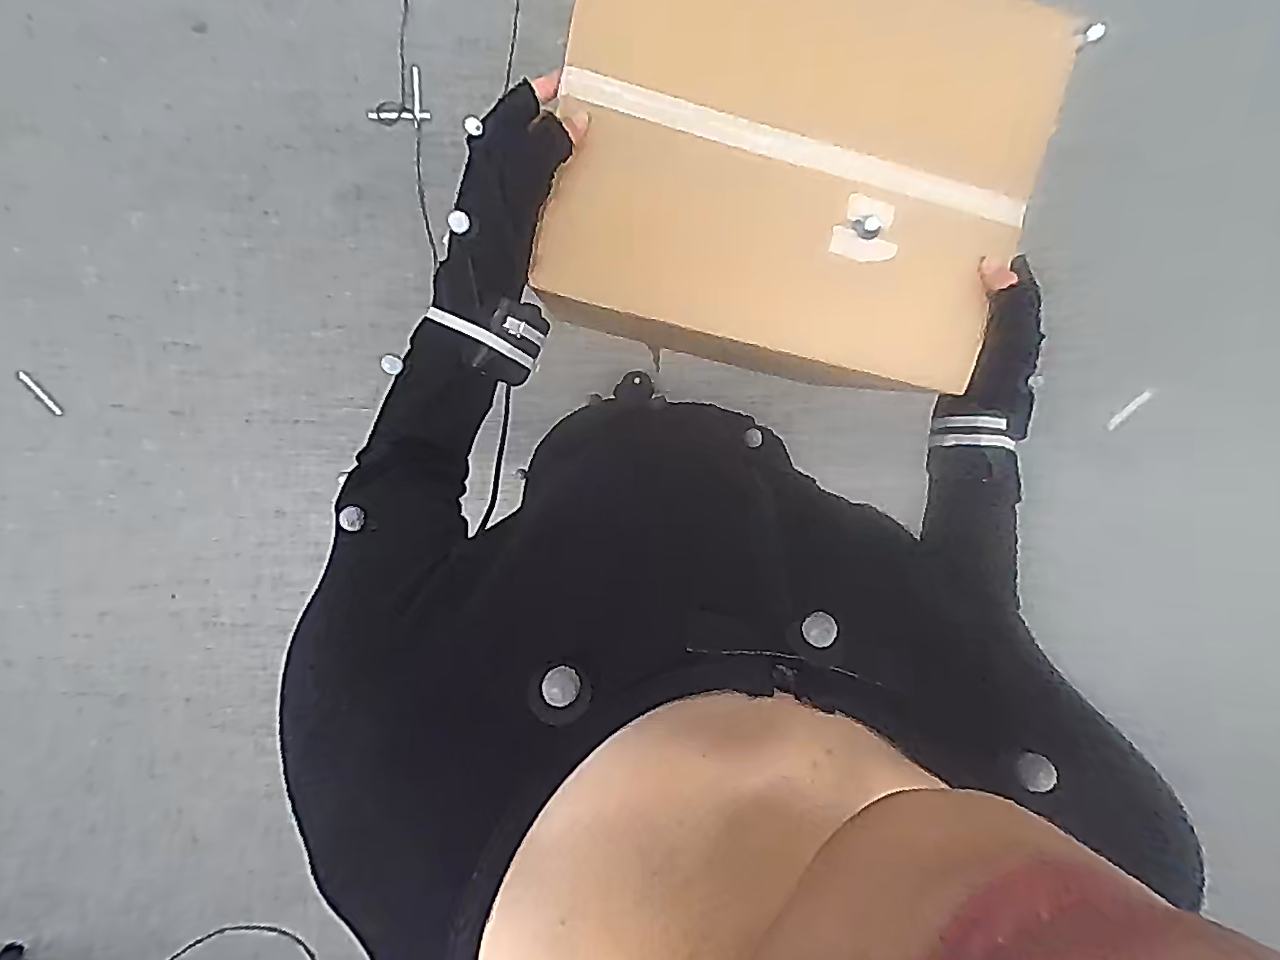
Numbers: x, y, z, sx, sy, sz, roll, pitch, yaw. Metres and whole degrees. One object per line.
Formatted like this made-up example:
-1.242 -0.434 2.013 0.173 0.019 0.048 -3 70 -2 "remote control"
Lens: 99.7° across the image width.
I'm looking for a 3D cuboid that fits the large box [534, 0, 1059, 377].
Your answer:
0.117 -0.307 0.600 0.408 0.320 0.320 11 100 -7 "large box"
